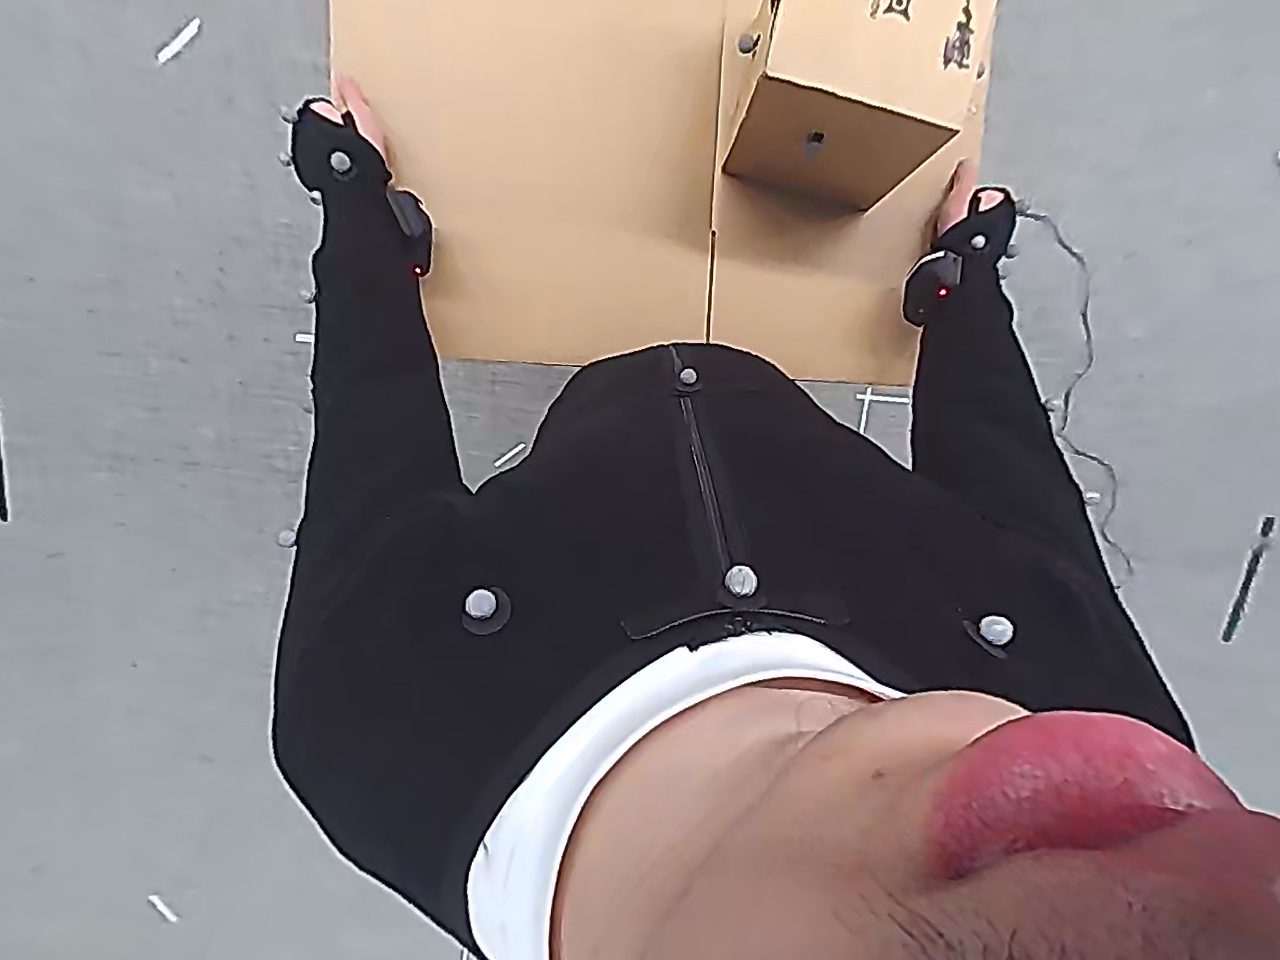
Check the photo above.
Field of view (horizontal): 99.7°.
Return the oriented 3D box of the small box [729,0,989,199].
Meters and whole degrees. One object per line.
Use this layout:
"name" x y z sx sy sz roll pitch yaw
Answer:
"small box" 0.196 -0.401 0.521 0.179 0.176 0.168 13 95 -3
